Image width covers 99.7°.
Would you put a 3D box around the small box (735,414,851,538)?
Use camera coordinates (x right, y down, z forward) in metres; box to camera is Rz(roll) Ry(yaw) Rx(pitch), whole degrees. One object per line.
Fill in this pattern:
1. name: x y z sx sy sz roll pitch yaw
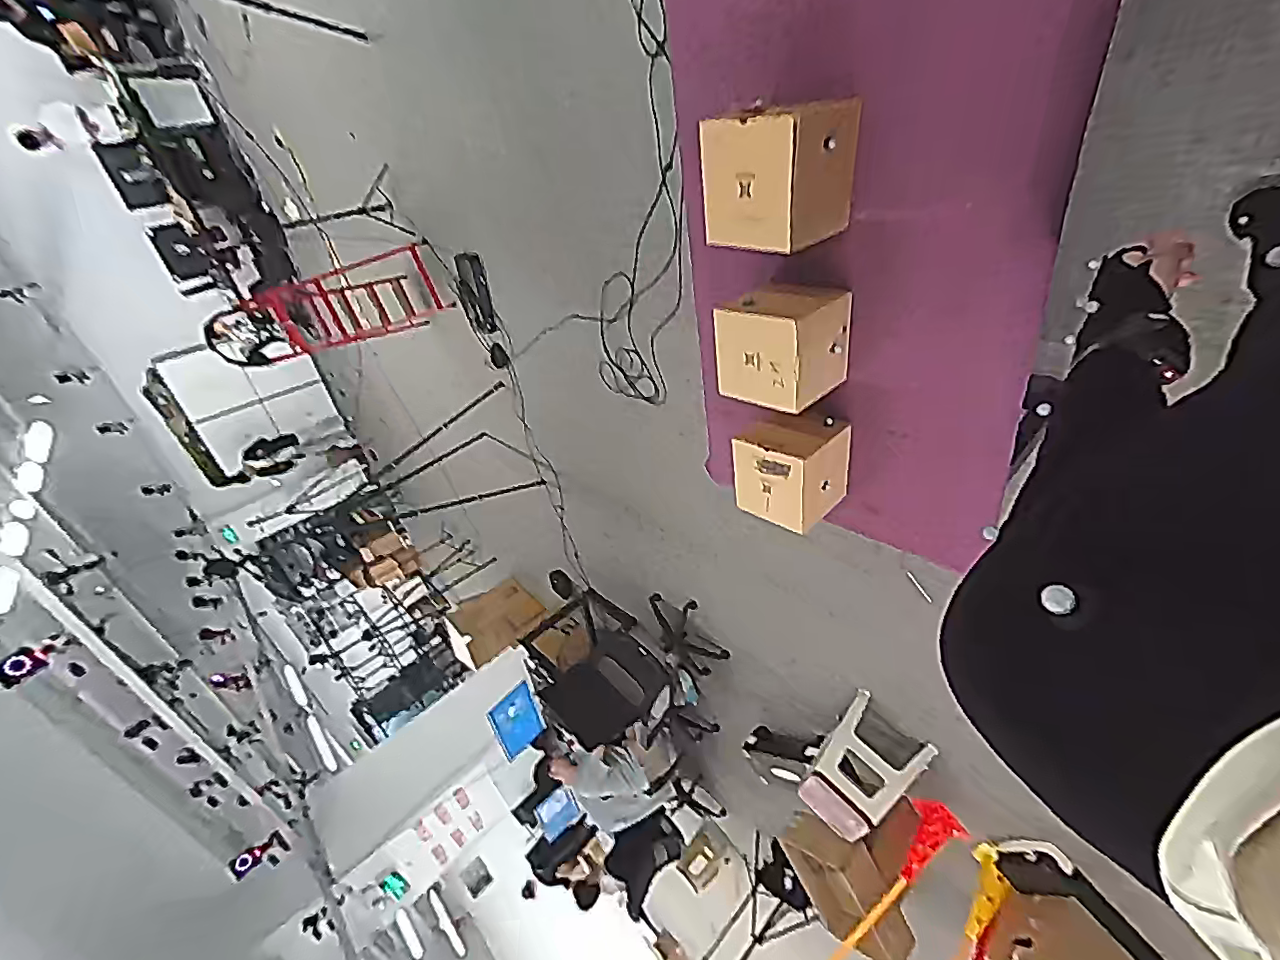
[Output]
1. small box: 0.313 -0.019 1.107 0.168 0.176 0.179 25 136 42

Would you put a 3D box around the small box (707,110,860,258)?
1. small box: 0.222 -0.467 0.845 0.168 0.176 0.179 29 139 39

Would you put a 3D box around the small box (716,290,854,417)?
1. small box: 0.262 -0.239 0.986 0.179 0.176 0.168 25 136 41
